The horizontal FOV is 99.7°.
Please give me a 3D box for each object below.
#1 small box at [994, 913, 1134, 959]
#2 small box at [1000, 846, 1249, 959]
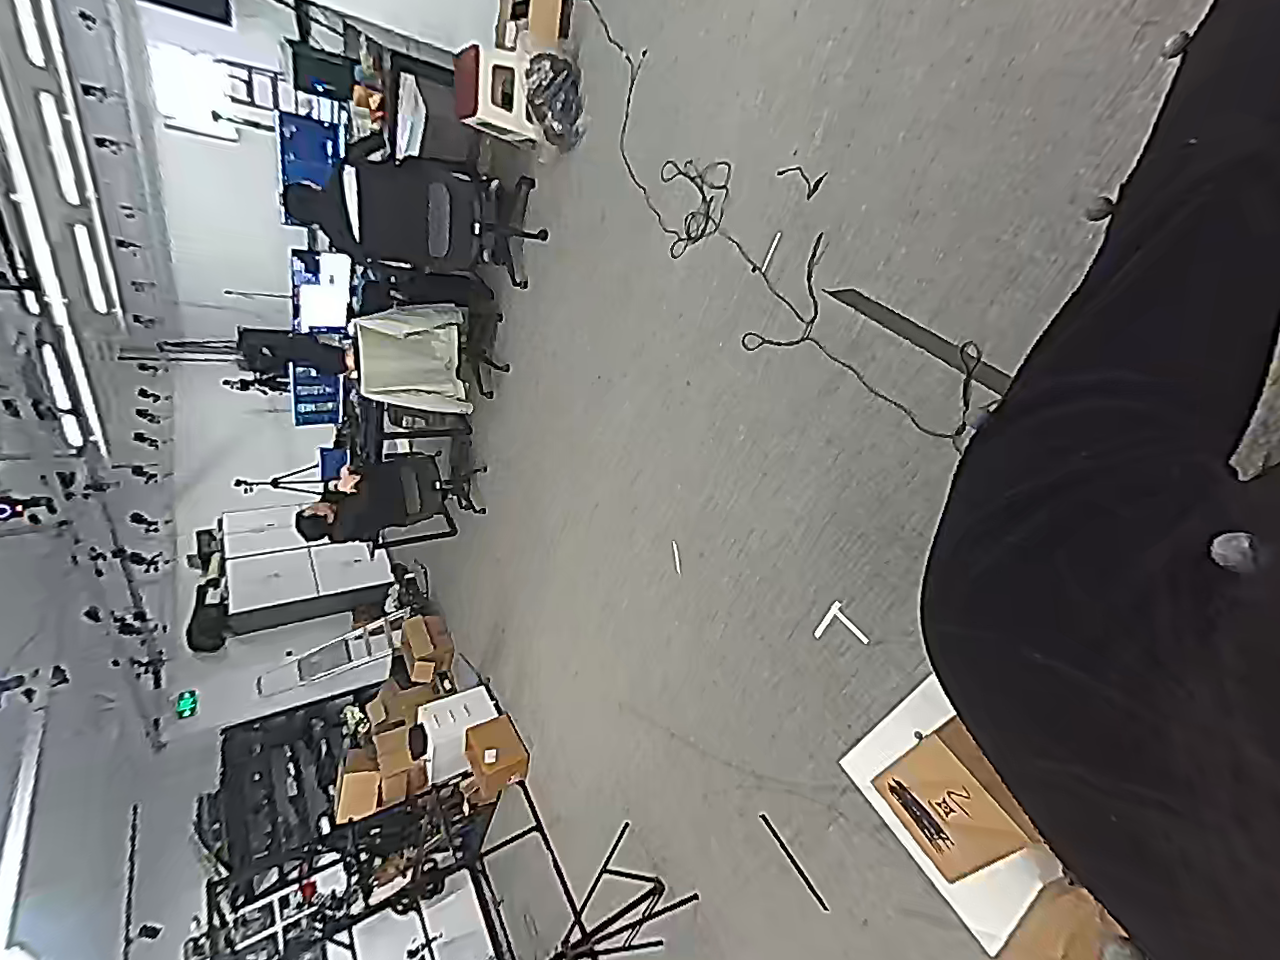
[{"bbox_3d":[0.509,0.652,0.622,0.168,0.176,0.179,50,134,37],"label":"small box"},{"bbox_3d":[0.640,0.635,0.716,0.168,0.176,0.179,51,135,35],"label":"small box"}]
